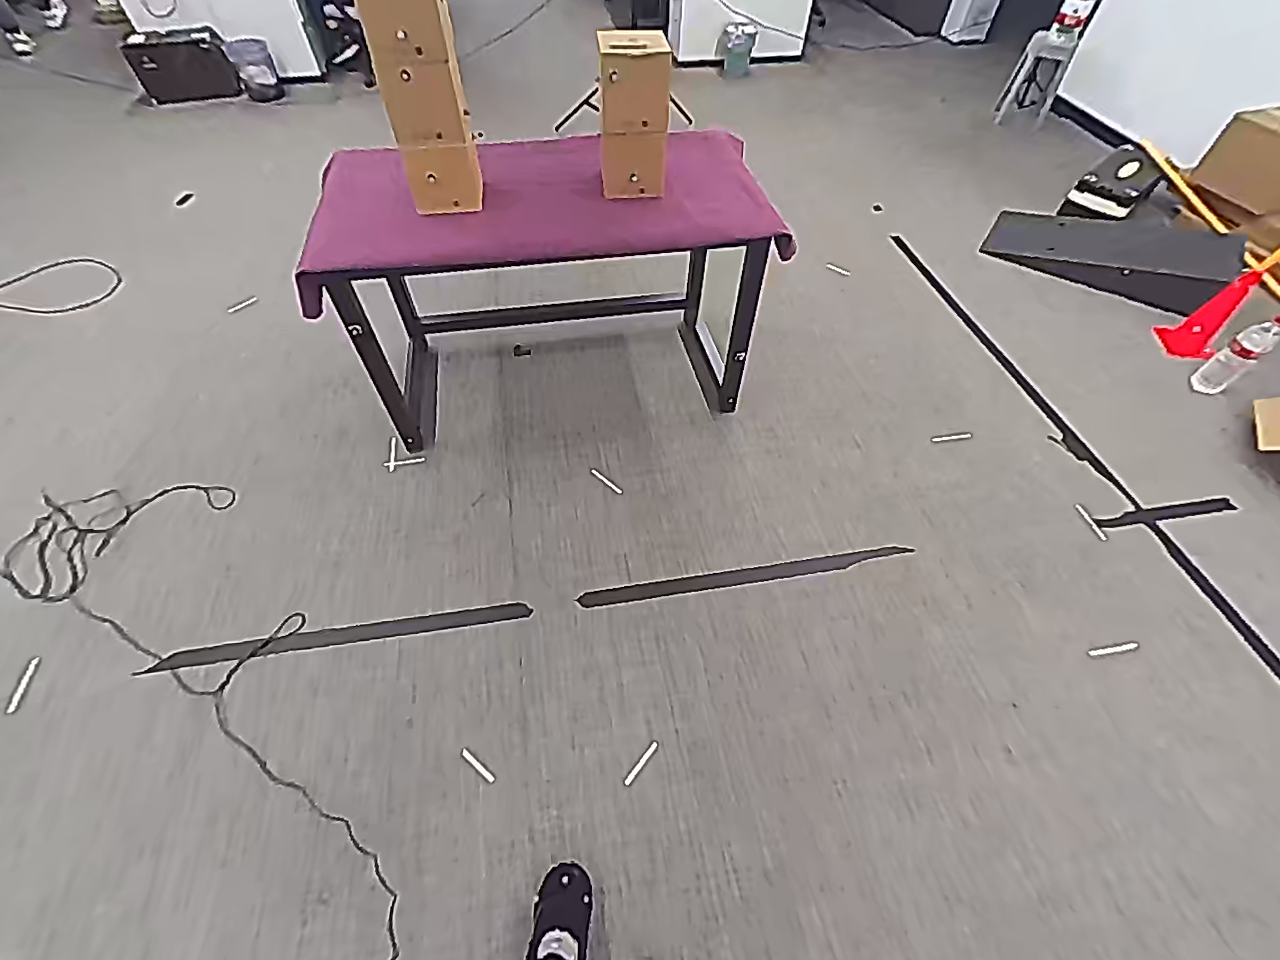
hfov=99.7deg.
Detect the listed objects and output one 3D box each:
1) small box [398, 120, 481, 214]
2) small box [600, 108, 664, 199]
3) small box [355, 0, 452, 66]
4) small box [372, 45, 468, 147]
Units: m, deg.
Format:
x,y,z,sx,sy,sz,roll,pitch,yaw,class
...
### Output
x,y,z,sx,sy,sz,roll,pitch,yaw,class
-0.518,-0.819,1.423,0.168,0.176,0.179,-7,53,-6,small box
-0.026,-0.899,1.492,0.168,0.176,0.179,-4,53,-3,small box
-0.509,-1.019,1.162,0.168,0.176,0.179,-7,54,-6,small box
-0.517,-0.922,1.295,0.168,0.176,0.179,-8,53,-7,small box
